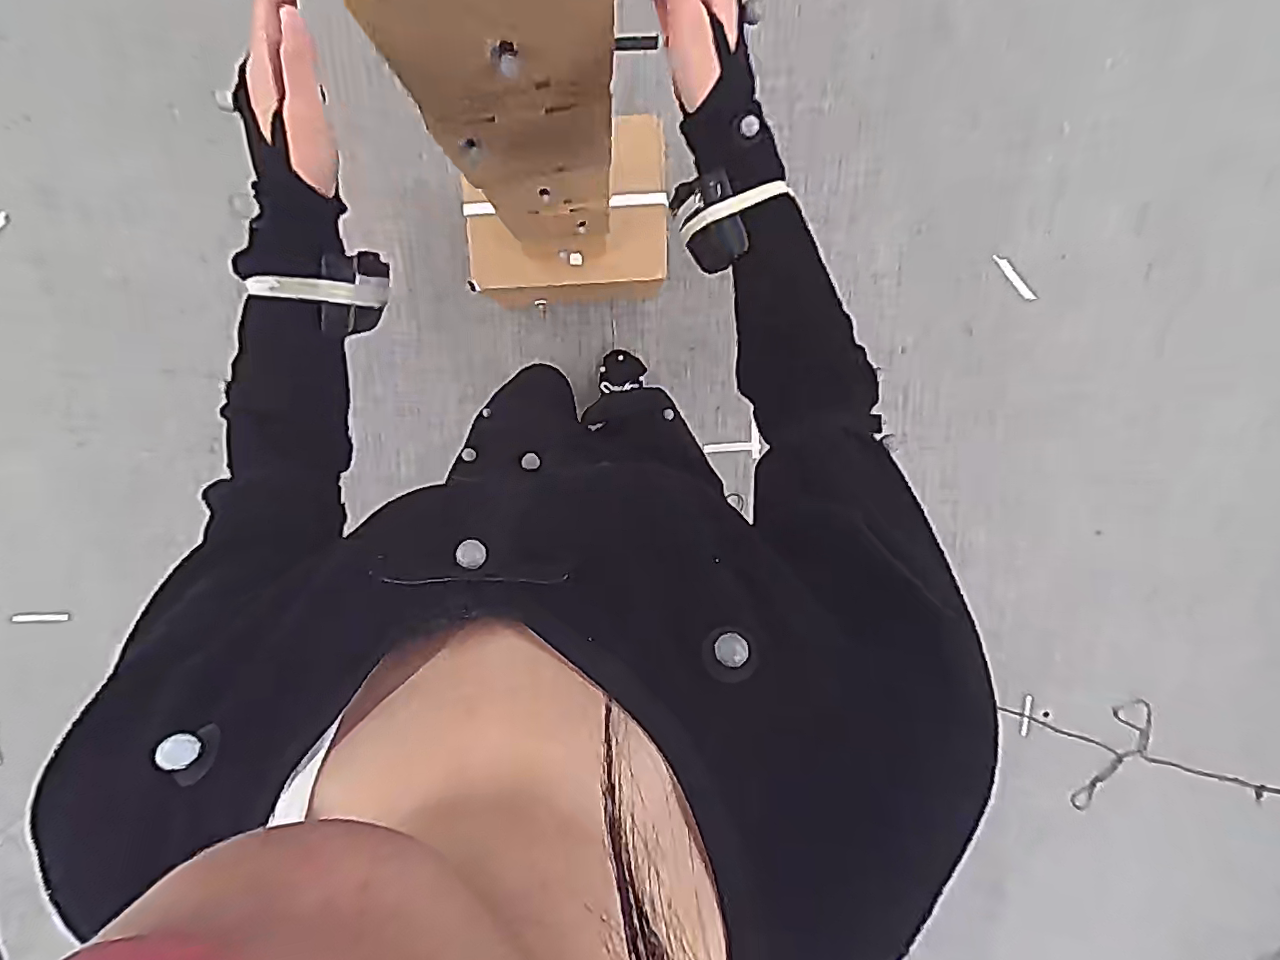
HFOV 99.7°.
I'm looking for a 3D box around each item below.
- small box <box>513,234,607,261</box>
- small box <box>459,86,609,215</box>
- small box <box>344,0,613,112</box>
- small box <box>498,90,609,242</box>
[{"bbox_3d":[-0.150,-0.523,1.013,0.168,0.176,0.179,-4,102,-2],"label":"small box"},{"bbox_3d":[-0.132,-0.456,0.694,0.168,0.176,0.179,-10,102,-2],"label":"small box"},{"bbox_3d":[-0.113,-0.388,0.374,0.168,0.176,0.179,-13,103,-1],"label":"small box"},{"bbox_3d":[-0.136,-0.486,0.856,0.168,0.176,0.179,-6,101,-3],"label":"small box"}]
